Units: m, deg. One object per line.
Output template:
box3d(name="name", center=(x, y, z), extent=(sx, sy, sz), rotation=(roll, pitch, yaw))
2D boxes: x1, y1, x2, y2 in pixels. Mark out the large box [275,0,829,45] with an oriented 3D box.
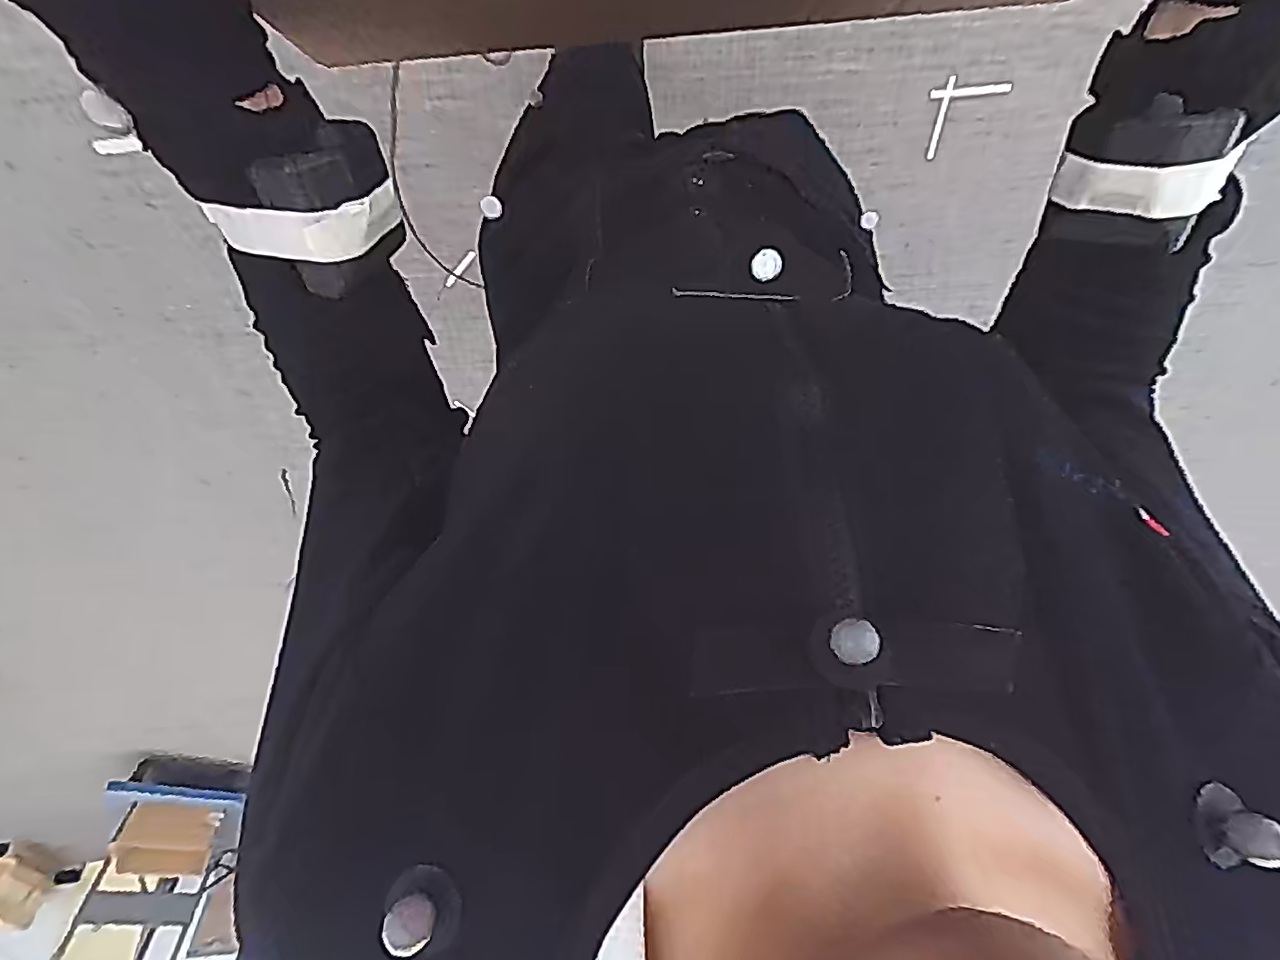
box3d(name="large box", center=(0.024, -0.344, 0.098), extent=(0.408, 0.320, 0.320), rotation=(-6, 109, -1))
